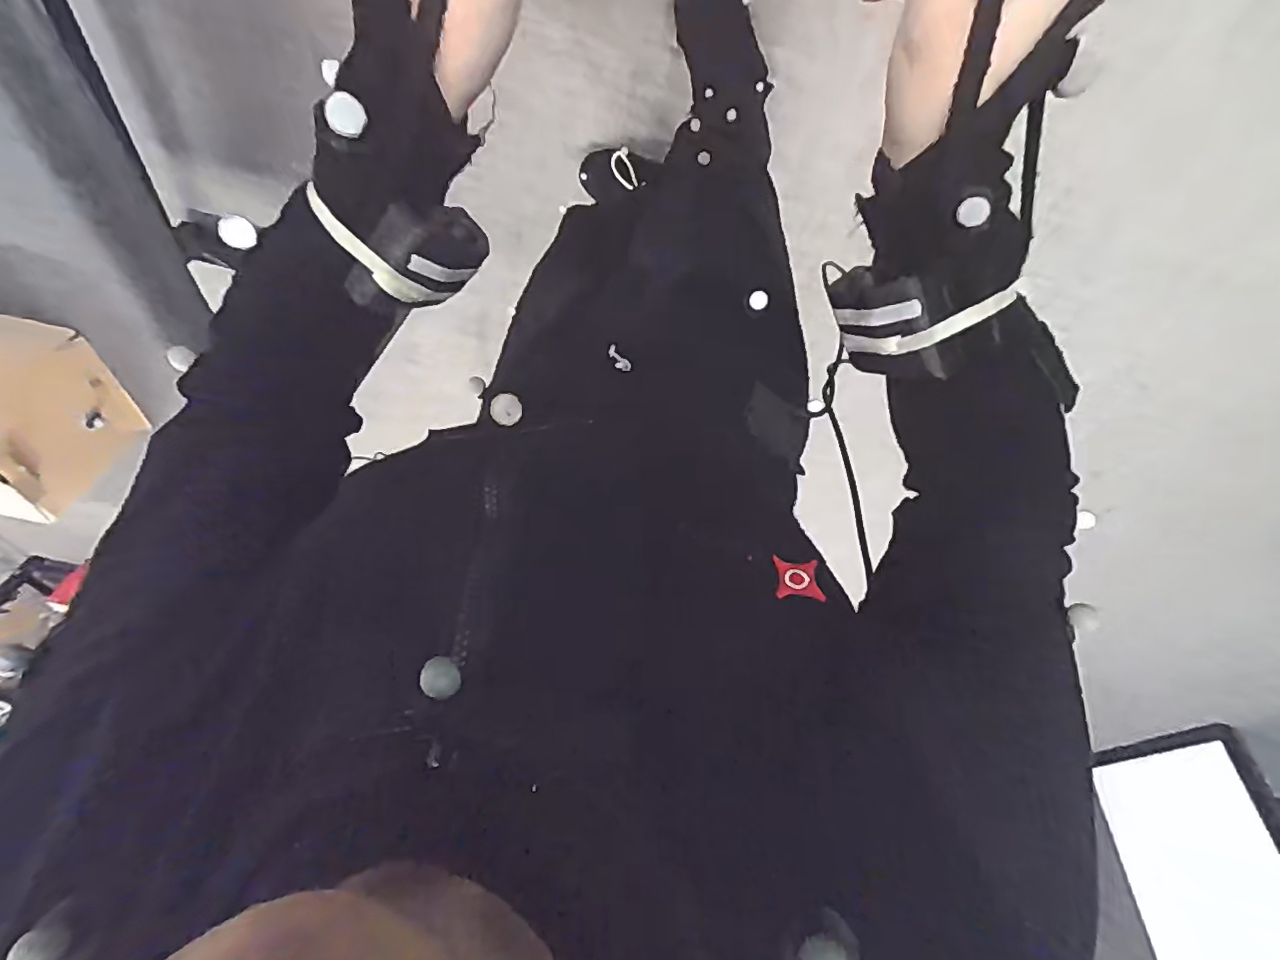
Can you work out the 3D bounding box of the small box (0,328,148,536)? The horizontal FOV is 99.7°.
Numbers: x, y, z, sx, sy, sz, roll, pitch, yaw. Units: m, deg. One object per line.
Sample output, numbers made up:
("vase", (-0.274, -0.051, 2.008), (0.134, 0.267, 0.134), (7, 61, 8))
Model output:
("small box", (-0.747, -0.063, 0.625), (0.179, 0.176, 0.168), (11, 140, -3))
